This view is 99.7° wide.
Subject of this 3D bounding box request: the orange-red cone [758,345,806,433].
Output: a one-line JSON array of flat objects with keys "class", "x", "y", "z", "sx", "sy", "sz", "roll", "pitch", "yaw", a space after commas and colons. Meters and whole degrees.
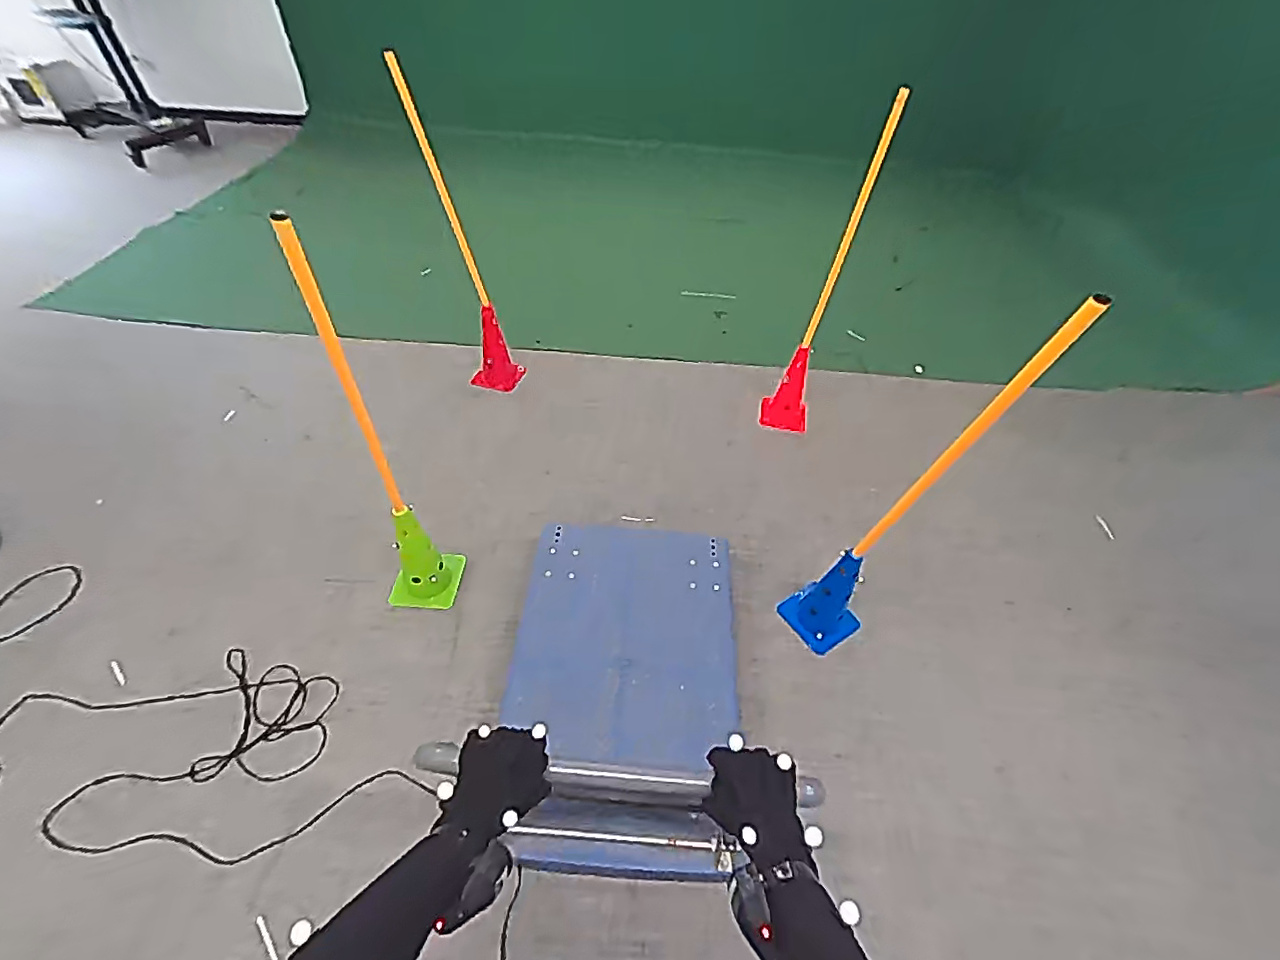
[{"class": "orange-red cone", "x": 0.629, "y": -0.399, "z": 2.253, "sx": 0.198, "sy": 0.360, "sz": 0.199, "roll": 12, "pitch": 48, "yaw": 8}]
